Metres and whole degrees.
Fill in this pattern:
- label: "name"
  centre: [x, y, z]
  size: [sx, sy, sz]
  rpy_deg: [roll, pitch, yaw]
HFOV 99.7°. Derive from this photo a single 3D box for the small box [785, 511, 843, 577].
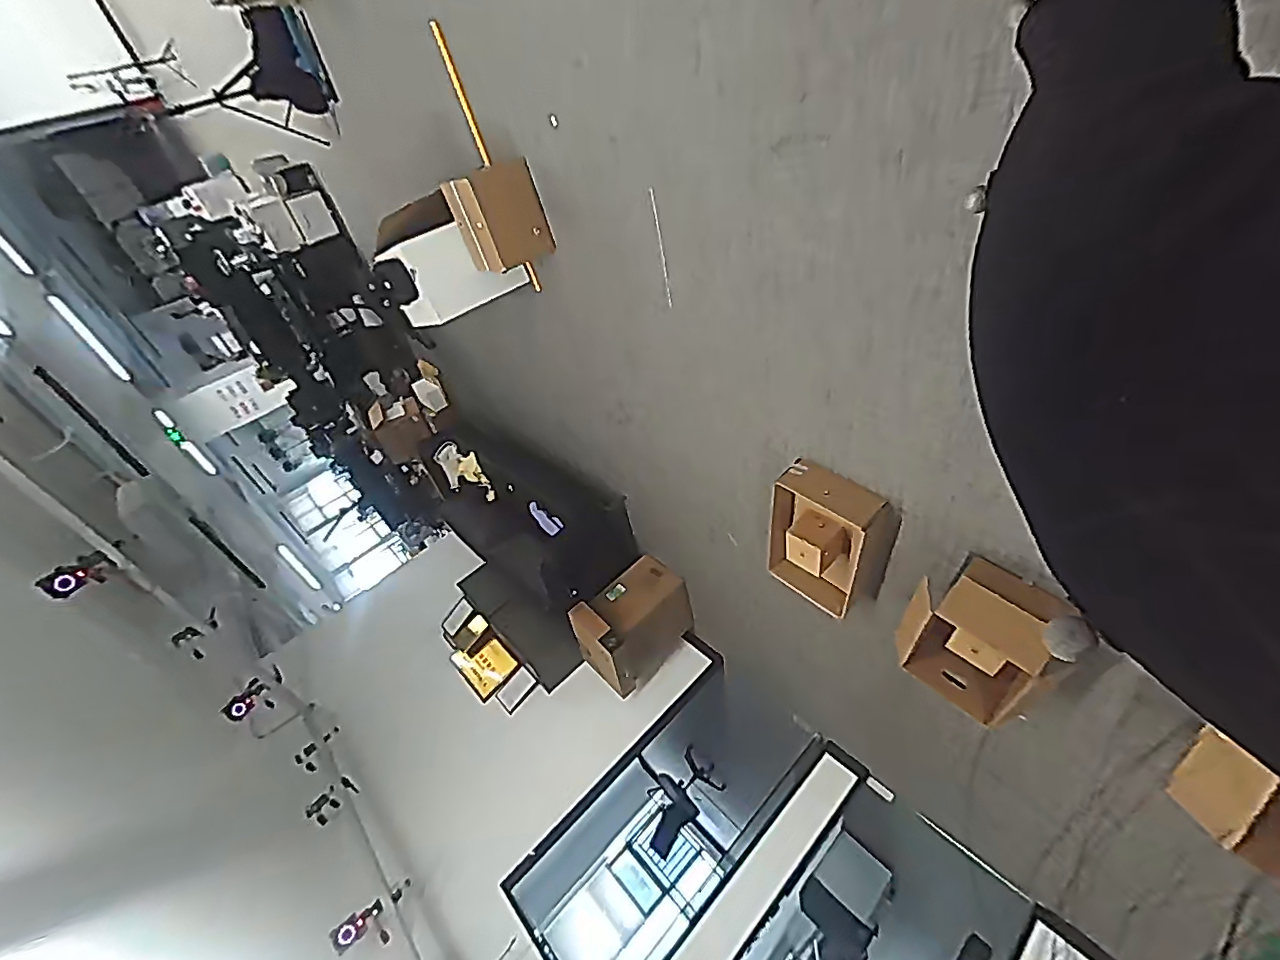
- label: "small box"
  centre: [0.724, 0.262, 2.245]
  size: [0.168, 0.176, 0.179]
  rpy_deg: [31, 147, 40]
